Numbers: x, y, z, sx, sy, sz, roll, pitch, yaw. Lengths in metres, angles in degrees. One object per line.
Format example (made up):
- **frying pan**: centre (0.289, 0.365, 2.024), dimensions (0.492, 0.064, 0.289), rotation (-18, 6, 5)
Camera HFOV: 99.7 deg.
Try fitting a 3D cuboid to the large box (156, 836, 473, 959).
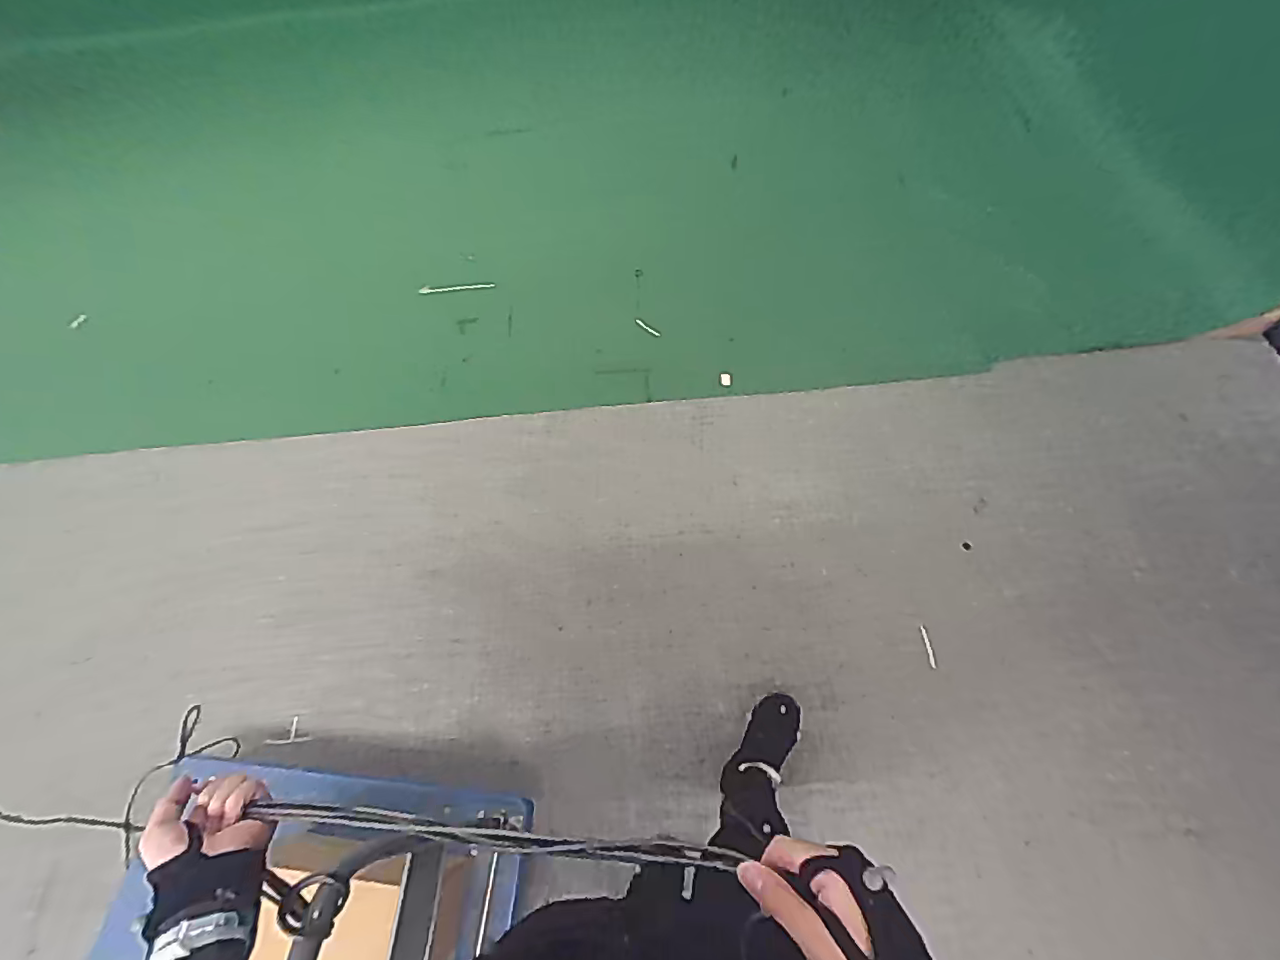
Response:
- **large box**: centre (-0.572, 0.864, 0.977), dimensions (0.408, 0.320, 0.320), rotation (3, 62, 7)
